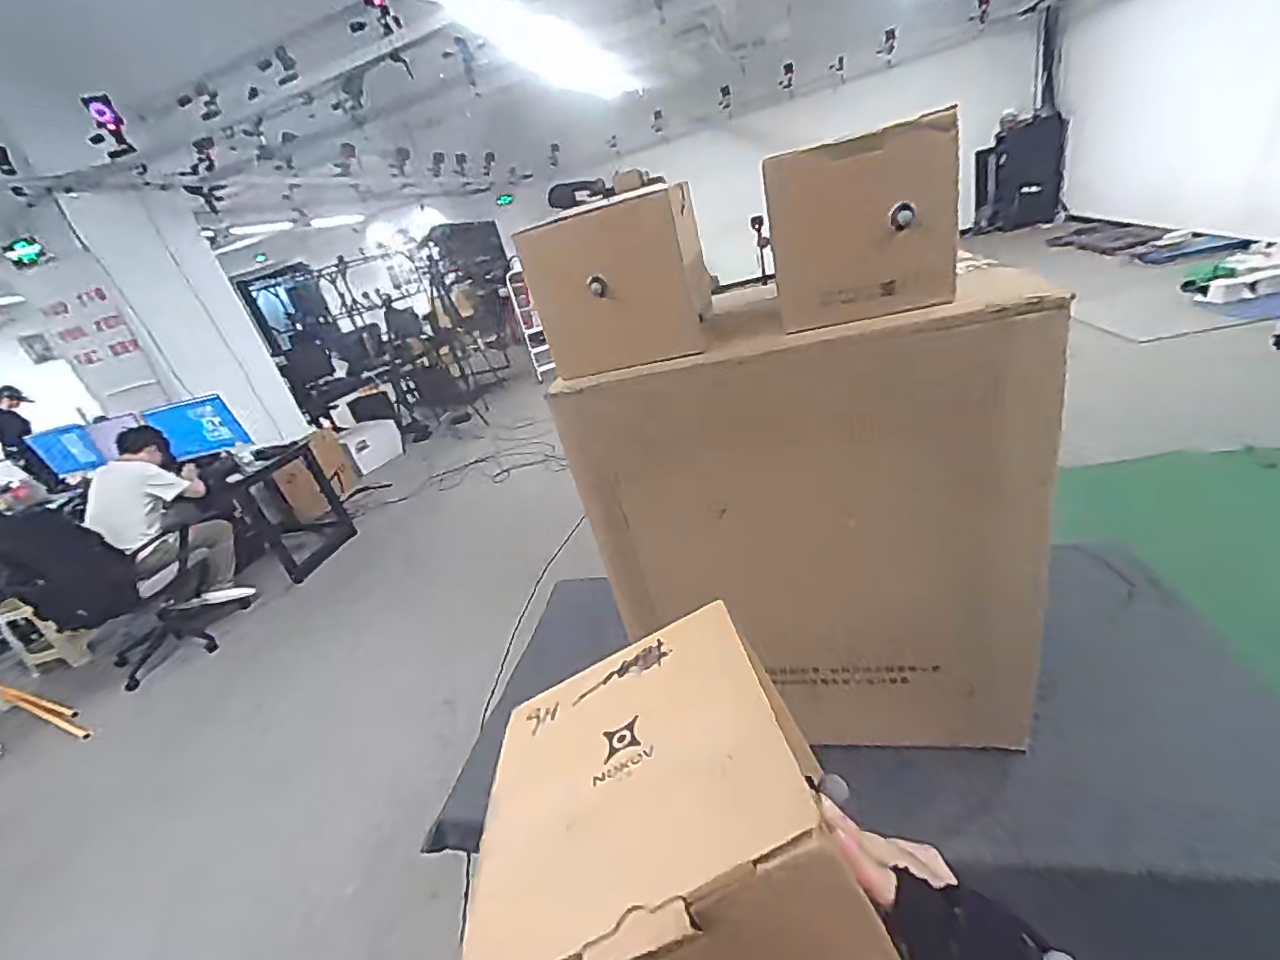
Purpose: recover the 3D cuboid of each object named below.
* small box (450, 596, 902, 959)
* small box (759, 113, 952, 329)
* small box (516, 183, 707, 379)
[{"bbox_3d":[0.024,0.208,0.315,0.168,0.176,0.179,-28,18,4],"label":"small box"},{"bbox_3d":[0.224,-0.270,0.584,0.168,0.176,0.179,-5,28,17],"label":"small box"},{"bbox_3d":[-0.017,-0.237,0.646,0.179,0.176,0.168,-8,30,14],"label":"small box"}]
